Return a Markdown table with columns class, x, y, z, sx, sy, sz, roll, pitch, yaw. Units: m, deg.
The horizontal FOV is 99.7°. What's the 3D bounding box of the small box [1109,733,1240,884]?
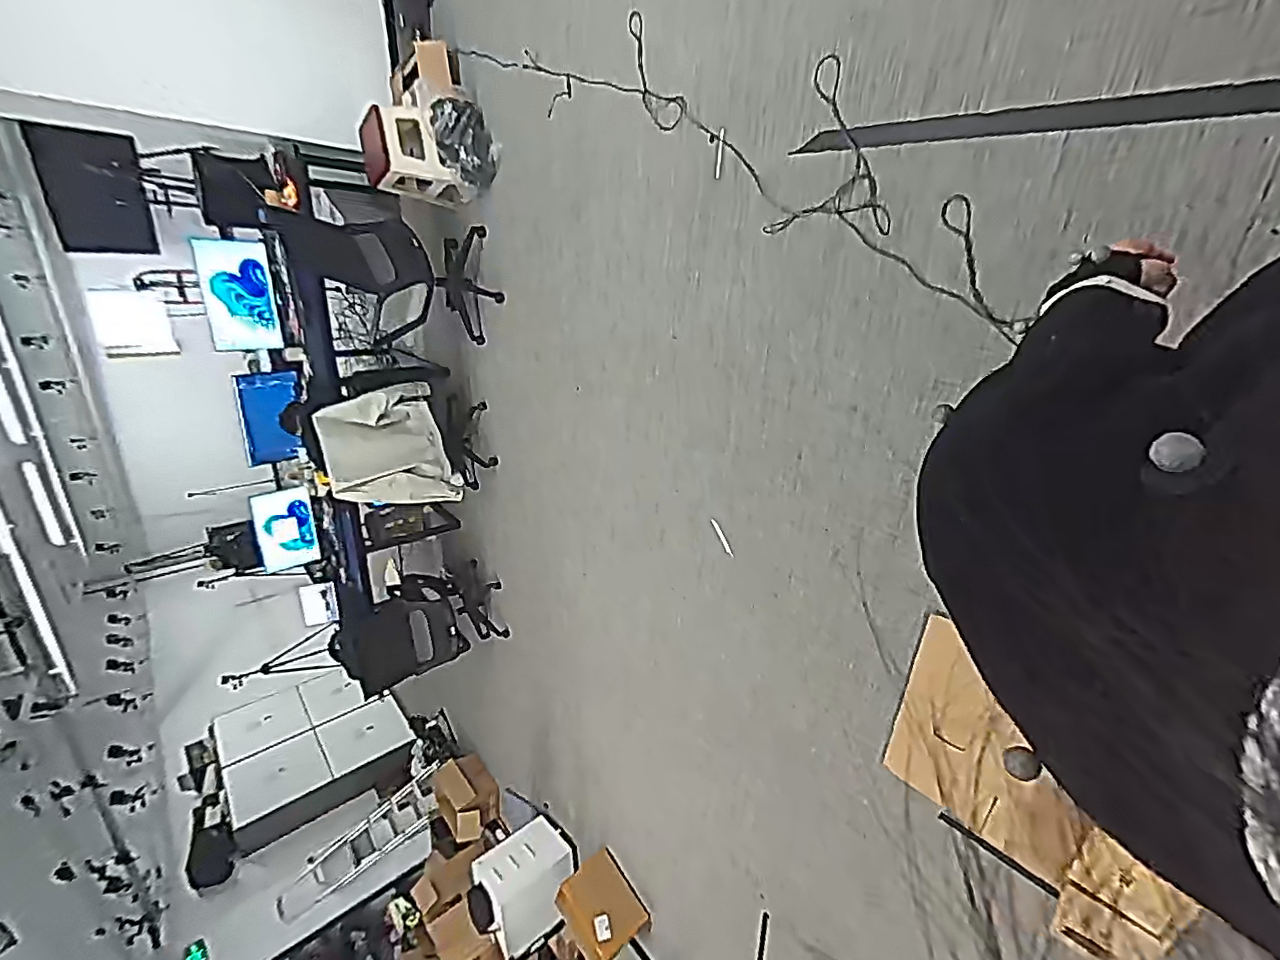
| class | x | y | z | sx | sy | sz | roll | pitch | yaw |
| --- | --- | --- | --- | --- | --- | --- | --- | --- | --- |
| small box | 1.120 | 0.674 | 1.136 | 0.168 | 0.176 | 0.179 | 14 | 112 | 46 |
